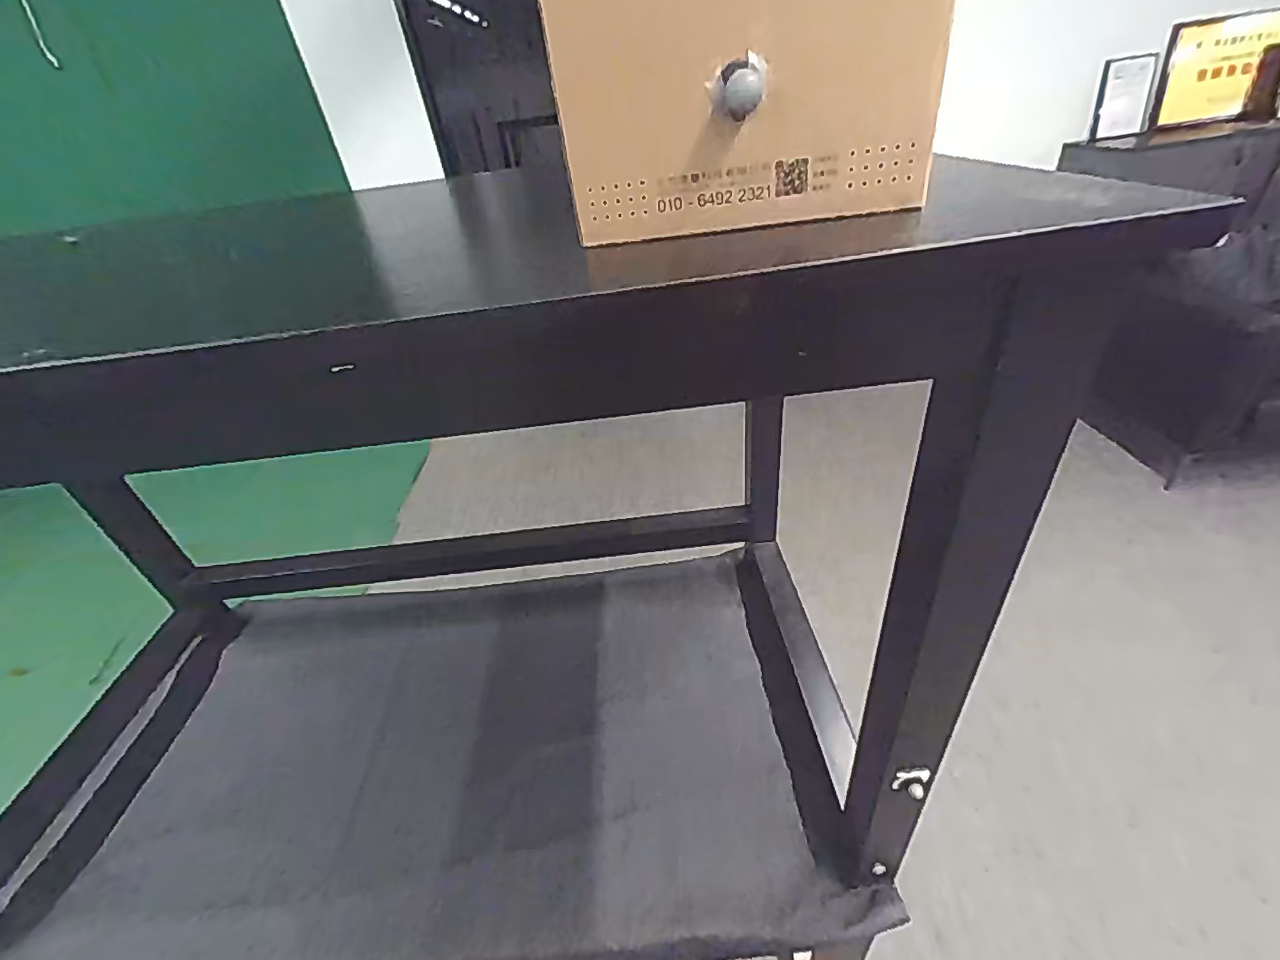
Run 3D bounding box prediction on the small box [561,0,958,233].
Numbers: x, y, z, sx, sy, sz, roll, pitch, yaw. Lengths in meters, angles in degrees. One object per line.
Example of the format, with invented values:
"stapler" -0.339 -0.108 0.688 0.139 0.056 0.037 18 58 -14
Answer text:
"small box" 0.053 -0.240 0.289 0.168 0.176 0.179 -3 35 9
